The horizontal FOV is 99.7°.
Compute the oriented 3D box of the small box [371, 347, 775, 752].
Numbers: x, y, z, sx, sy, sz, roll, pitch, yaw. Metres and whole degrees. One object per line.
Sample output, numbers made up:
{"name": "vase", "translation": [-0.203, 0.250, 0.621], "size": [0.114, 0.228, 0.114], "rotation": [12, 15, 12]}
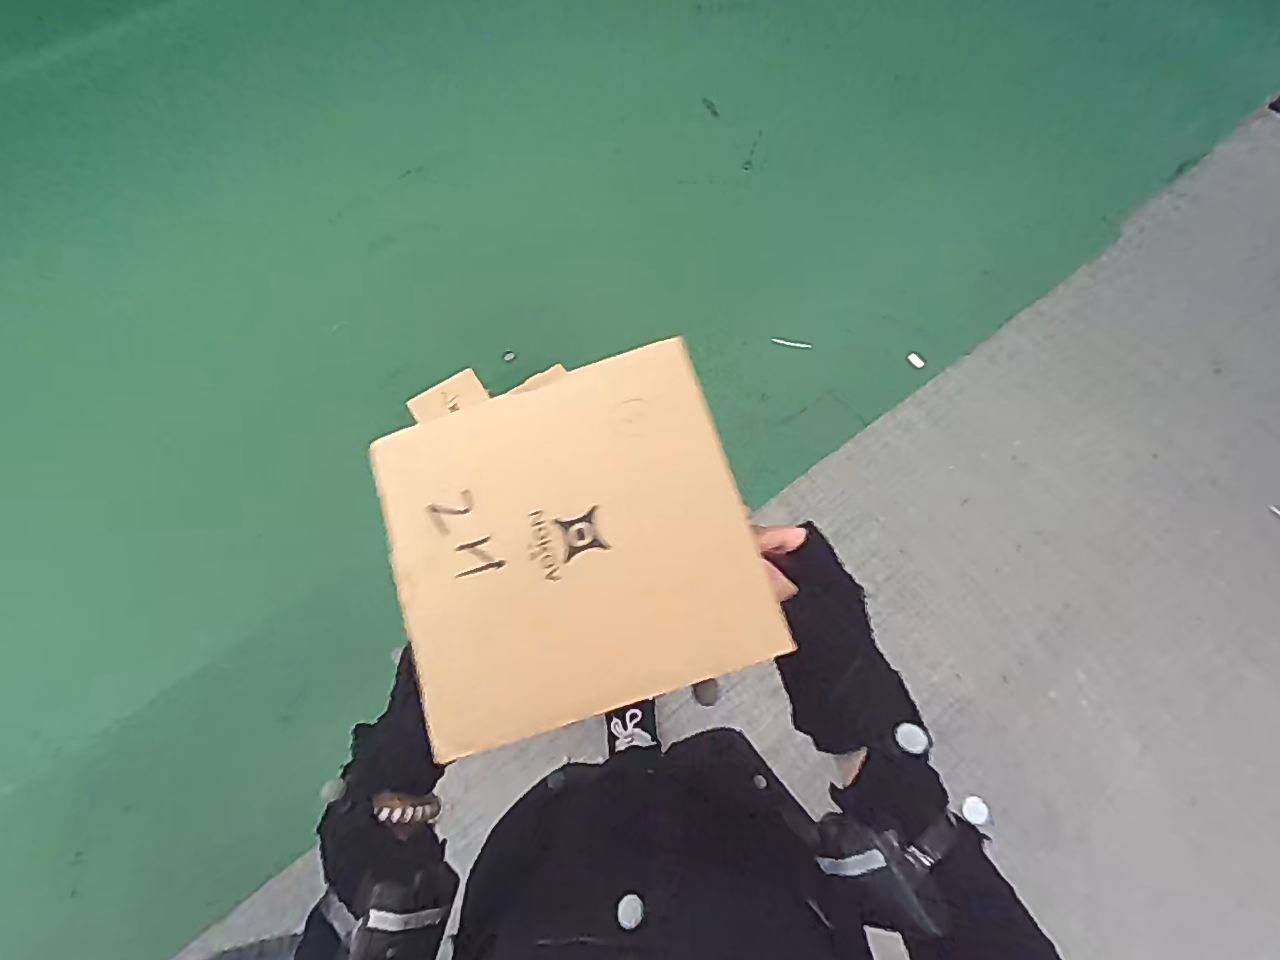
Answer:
{"name": "small box", "translation": [-0.033, 0.045, 0.353], "size": [0.179, 0.176, 0.168], "rotation": [-20, 77, 3]}
